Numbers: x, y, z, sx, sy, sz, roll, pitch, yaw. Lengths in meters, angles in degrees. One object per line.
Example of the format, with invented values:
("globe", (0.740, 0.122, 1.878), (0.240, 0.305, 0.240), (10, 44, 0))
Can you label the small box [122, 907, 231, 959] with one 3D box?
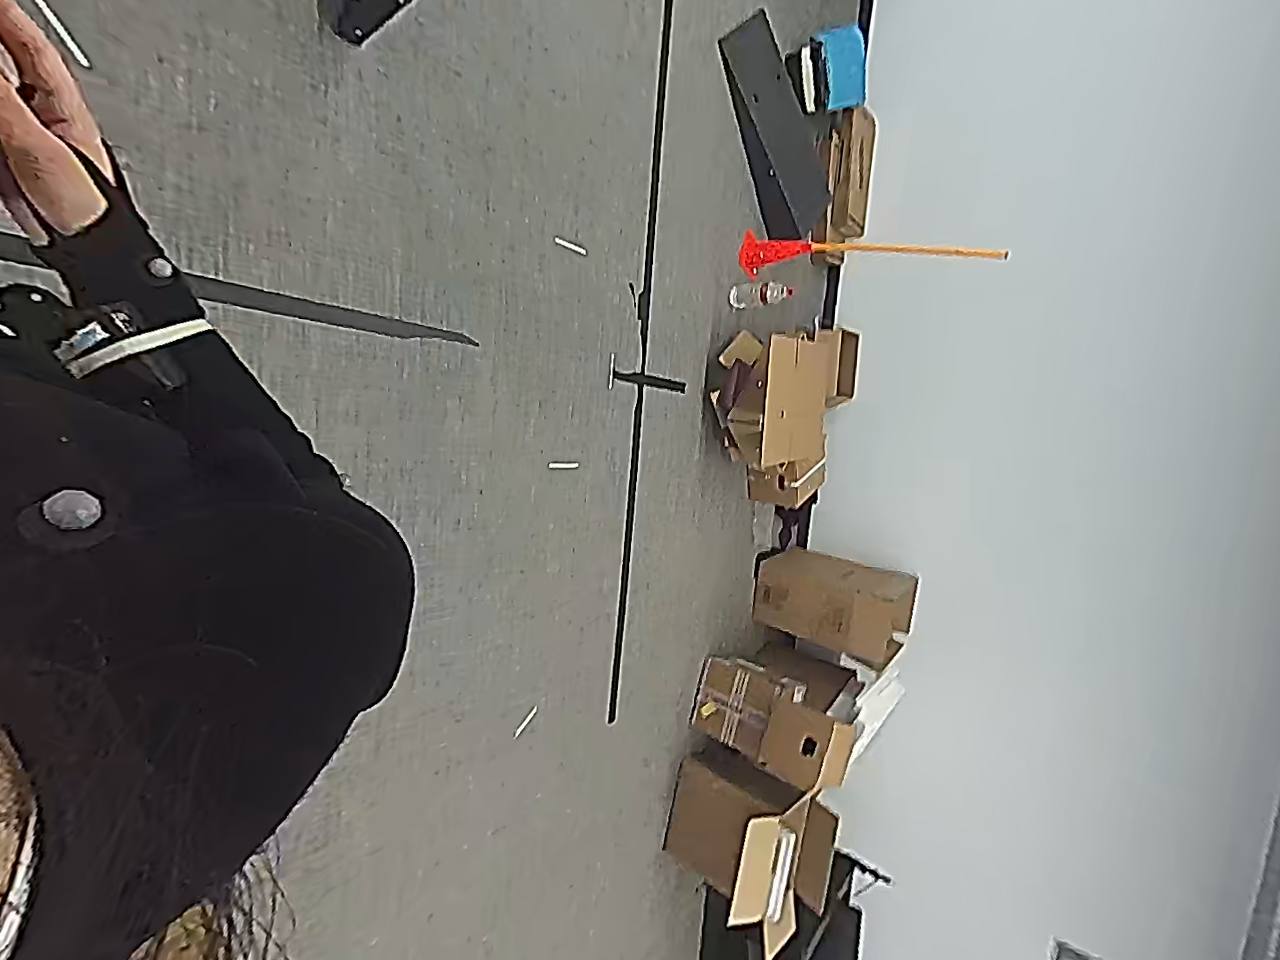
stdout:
("small box", (-1.077, 1.162, 1.259), (0.179, 0.176, 0.168), (-21, 114, -48))
